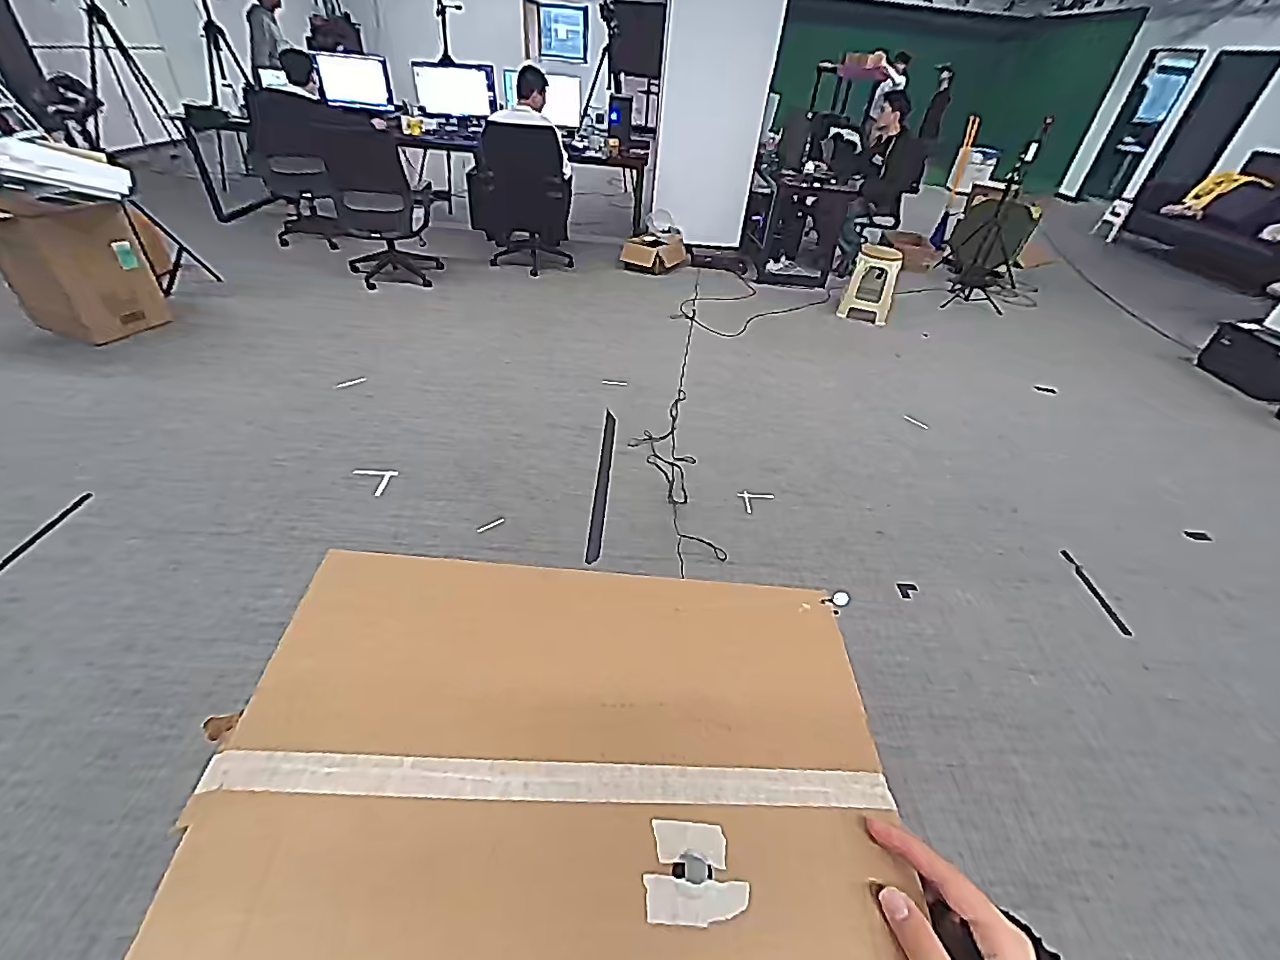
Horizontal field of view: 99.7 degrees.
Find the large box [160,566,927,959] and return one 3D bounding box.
[{"bbox_3d":[-0.061,0.297,0.440,0.408,0.320,0.320,6,45,-7],"label":"large box"}]
